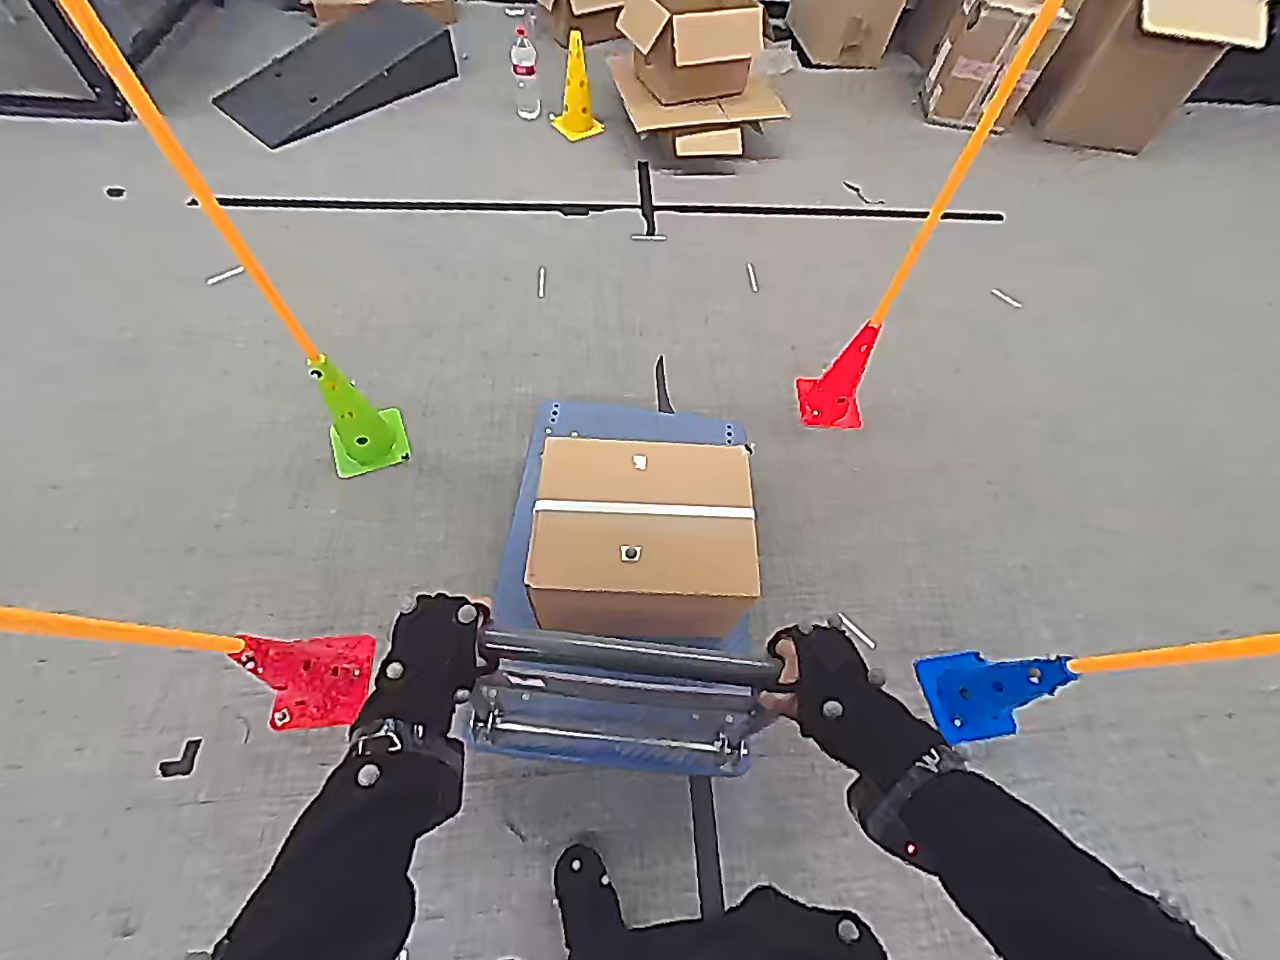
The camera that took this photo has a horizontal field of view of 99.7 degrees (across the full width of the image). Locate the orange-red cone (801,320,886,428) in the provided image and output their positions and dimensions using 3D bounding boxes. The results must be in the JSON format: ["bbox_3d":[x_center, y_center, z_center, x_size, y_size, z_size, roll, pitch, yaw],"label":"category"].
[{"bbox_3d":[0.643,-0.340,1.628,0.199,0.360,0.198,5,61,-3],"label":"orange-red cone"}]

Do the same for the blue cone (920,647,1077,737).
[{"bbox_3d":[0.825,0.448,1.208,0.193,0.380,0.192,-4,60,-8],"label":"blue cone"}]
